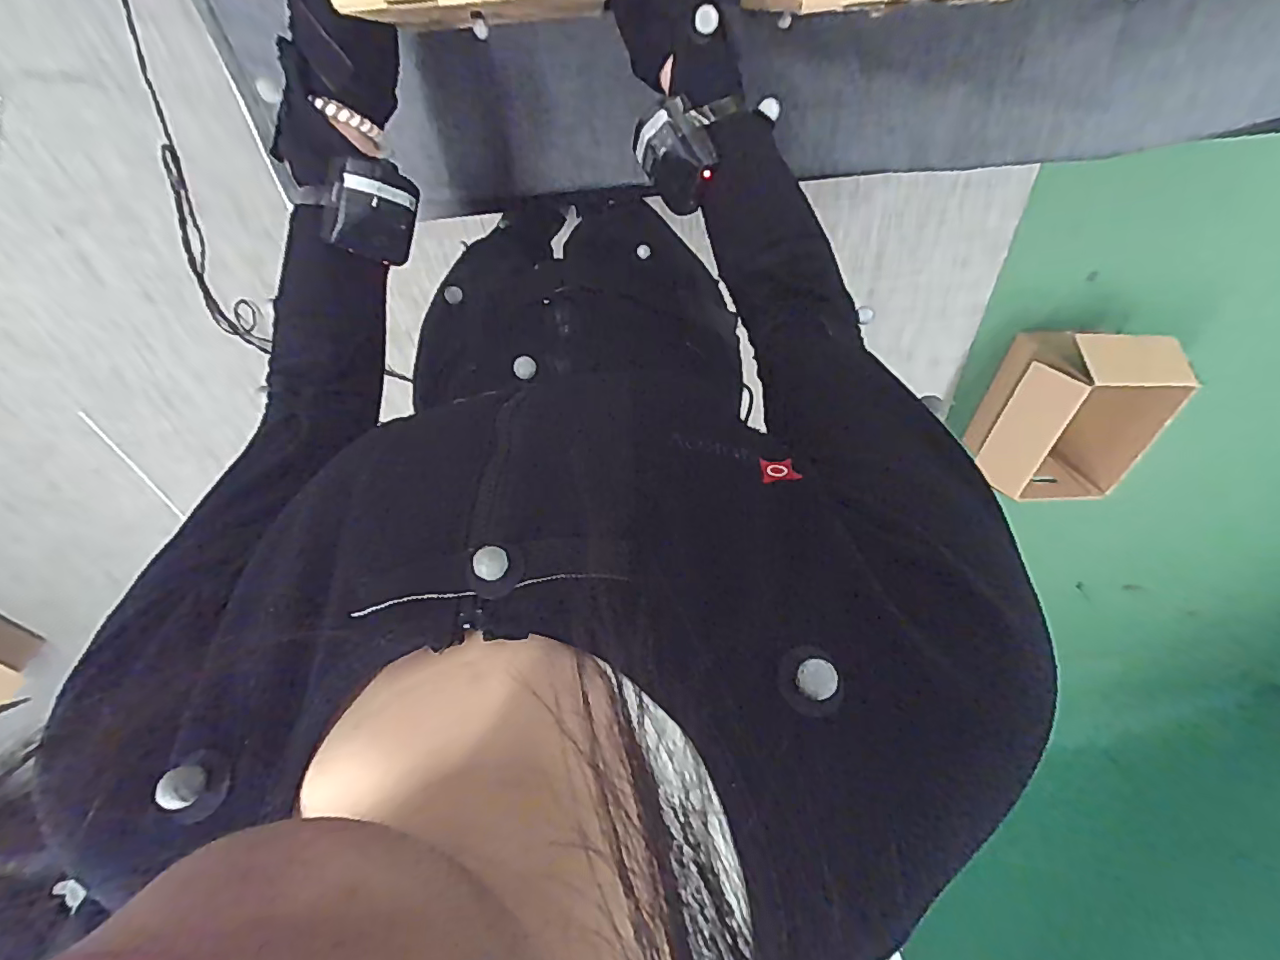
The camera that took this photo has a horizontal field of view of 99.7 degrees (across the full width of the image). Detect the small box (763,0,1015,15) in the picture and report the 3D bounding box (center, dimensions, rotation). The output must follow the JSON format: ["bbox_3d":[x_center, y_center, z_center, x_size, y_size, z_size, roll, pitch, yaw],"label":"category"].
[{"bbox_3d":[0.178,-0.440,0.370,0.168,0.176,0.179,-6,131,-3],"label":"small box"}]

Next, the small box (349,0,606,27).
[{"bbox_3d":[-0.107,-0.402,0.331,0.168,0.176,0.179,-7,128,-2],"label":"small box"}]
